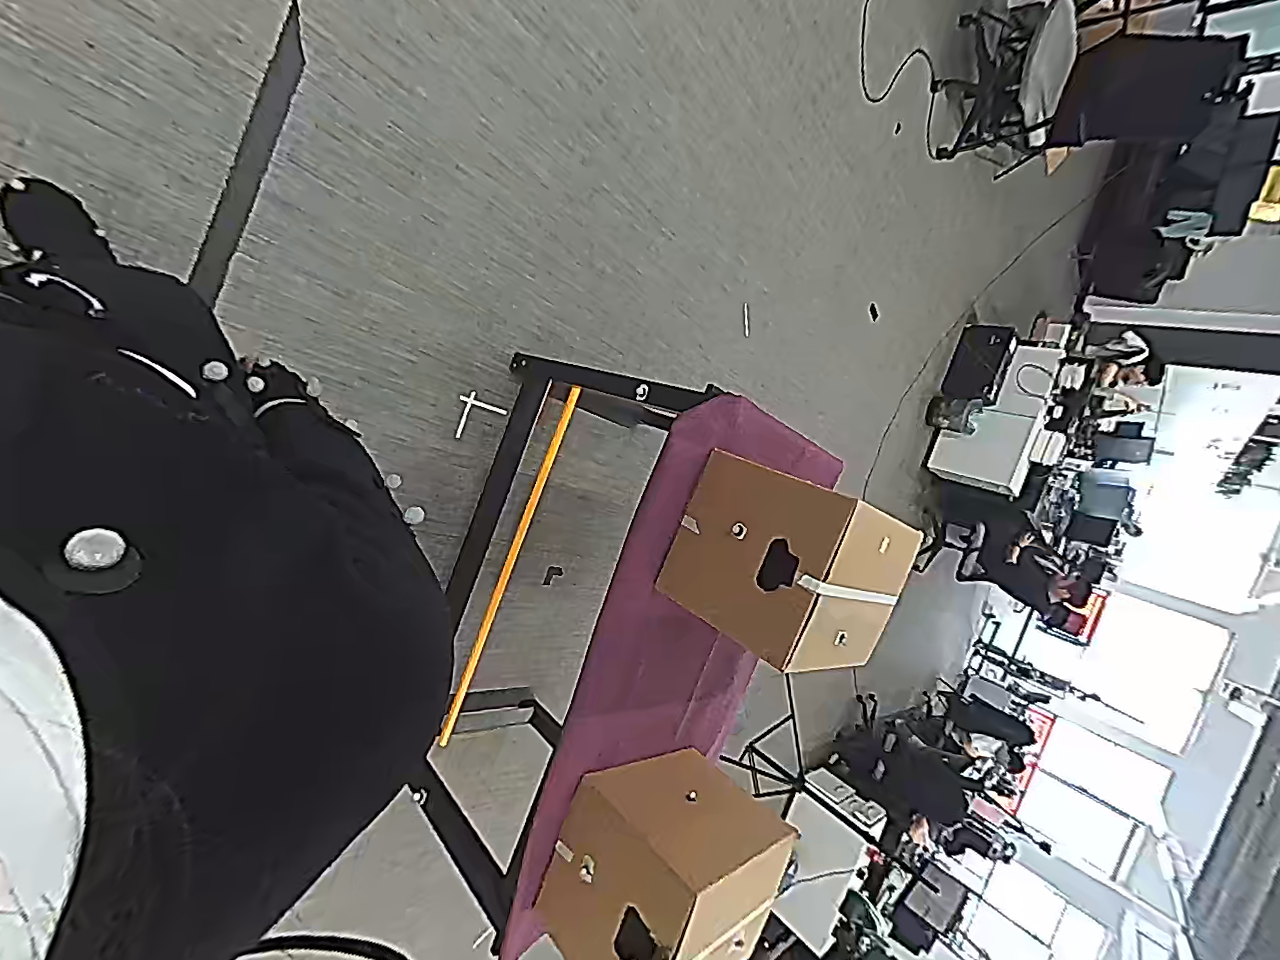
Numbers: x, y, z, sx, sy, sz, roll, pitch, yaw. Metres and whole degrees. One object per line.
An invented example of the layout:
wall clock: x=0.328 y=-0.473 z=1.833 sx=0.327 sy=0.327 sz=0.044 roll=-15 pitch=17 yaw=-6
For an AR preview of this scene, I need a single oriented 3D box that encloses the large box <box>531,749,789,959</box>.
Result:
large box: x=0.049 y=0.824 z=1.138 sx=0.408 sy=0.320 sz=0.320 roll=19 pitch=93 yaw=-49
